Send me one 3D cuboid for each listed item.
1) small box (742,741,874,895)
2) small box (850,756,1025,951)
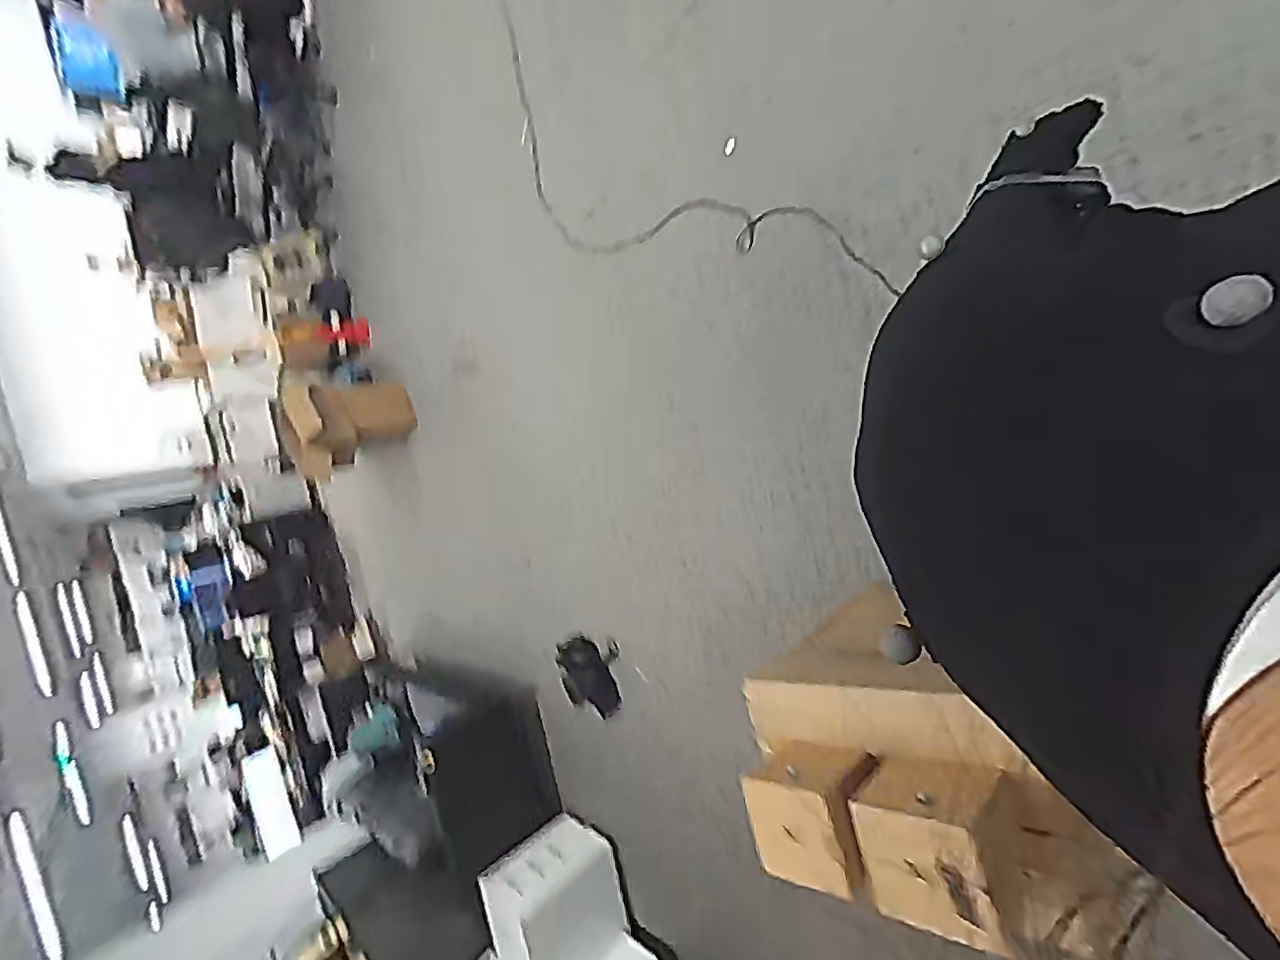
[{"bbox_3d":[0.321,0.596,0.982,0.179,0.176,0.168,-22,78,48],"label":"small box"},{"bbox_3d":[0.458,0.547,0.826,0.179,0.176,0.168,-20,81,47],"label":"small box"}]
